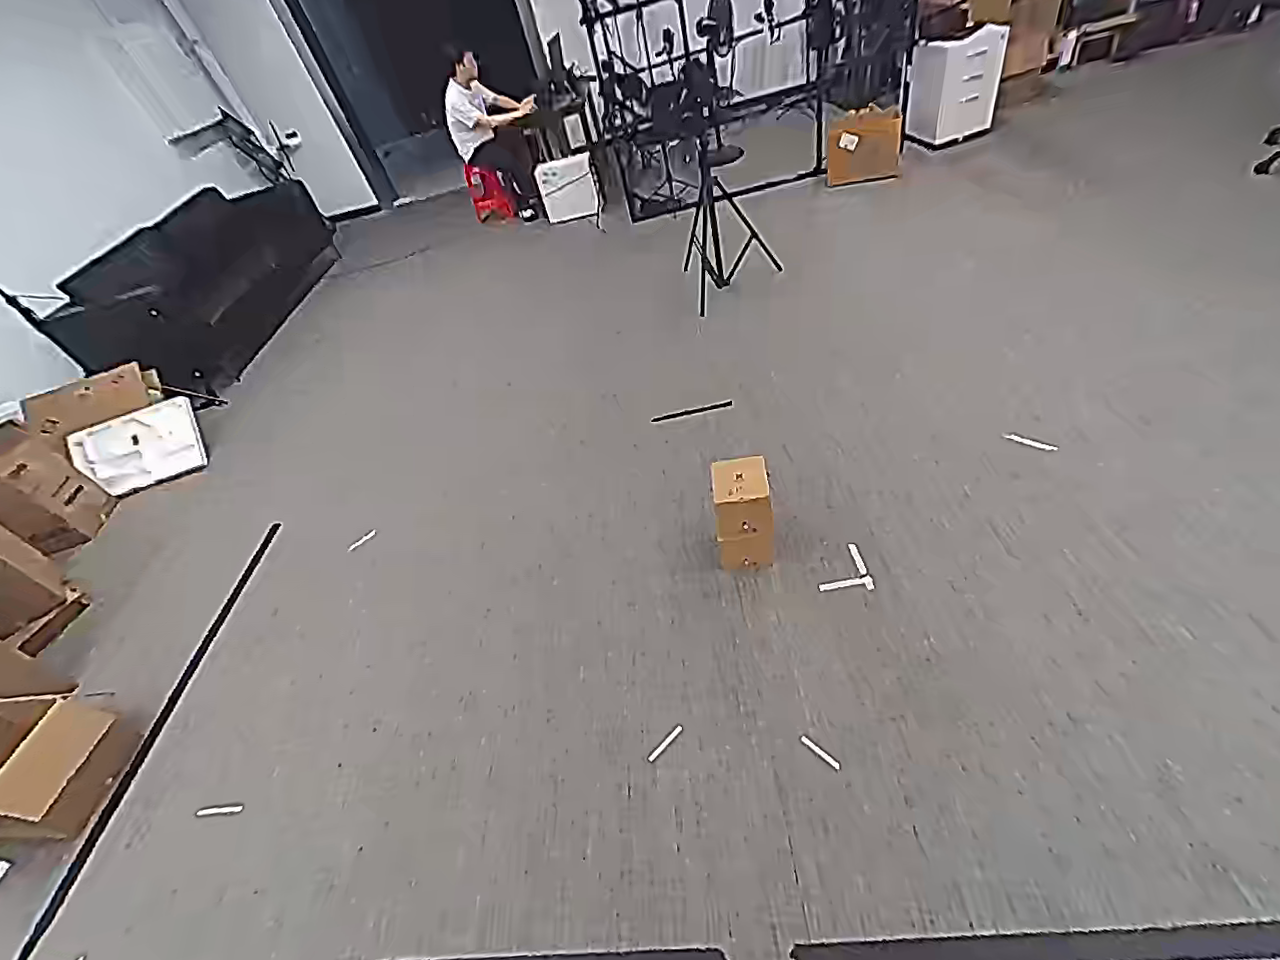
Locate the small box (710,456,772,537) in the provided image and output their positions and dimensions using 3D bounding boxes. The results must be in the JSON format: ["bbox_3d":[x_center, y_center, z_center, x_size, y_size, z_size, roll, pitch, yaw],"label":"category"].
[{"bbox_3d":[0.312,0.052,1.673,0.168,0.176,0.179,-8,45,12],"label":"small box"}]
